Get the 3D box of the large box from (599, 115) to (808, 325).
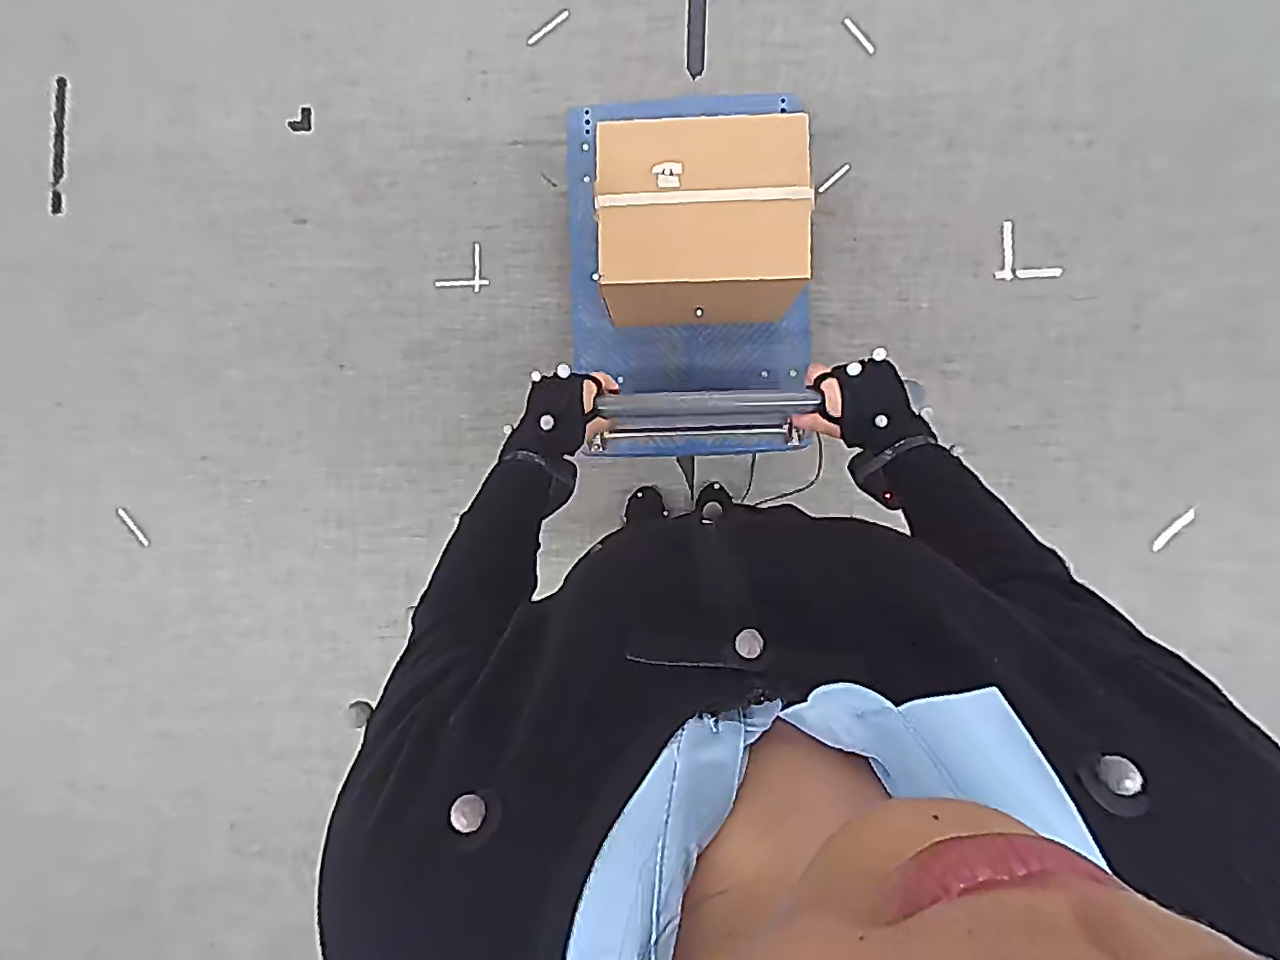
[{"bbox_3d":[0.132,-0.542,1.197,0.408,0.320,0.320,-1,90,4],"label":"large box"}]
